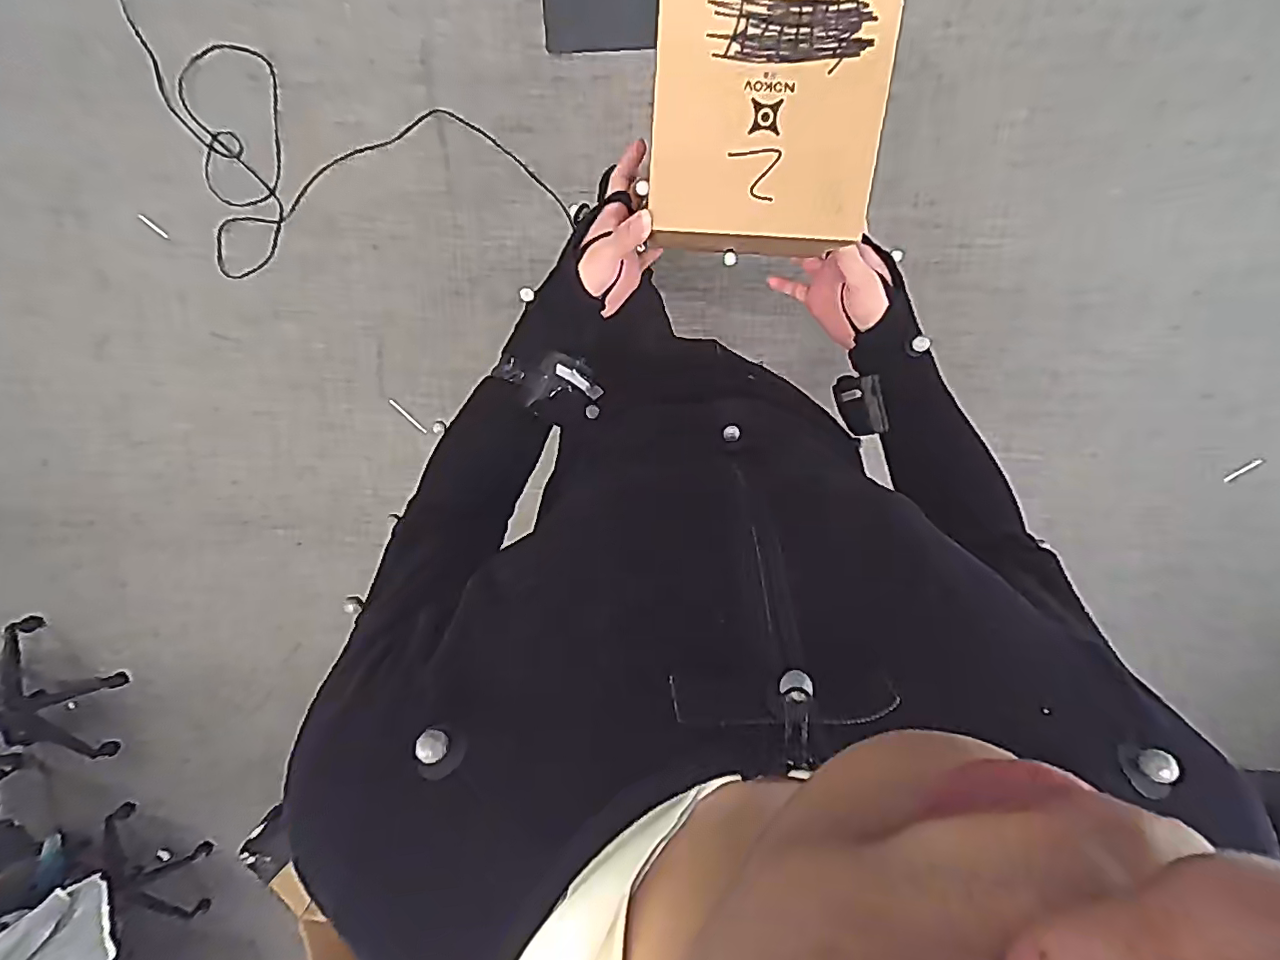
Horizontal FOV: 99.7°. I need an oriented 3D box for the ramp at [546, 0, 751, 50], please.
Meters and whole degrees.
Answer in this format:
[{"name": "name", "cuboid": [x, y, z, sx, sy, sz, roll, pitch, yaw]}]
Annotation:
[{"name": "ramp", "cuboid": [0.008, -1.499, 1.081, 0.509, 0.206, 0.991, -1, 108, 5]}]
